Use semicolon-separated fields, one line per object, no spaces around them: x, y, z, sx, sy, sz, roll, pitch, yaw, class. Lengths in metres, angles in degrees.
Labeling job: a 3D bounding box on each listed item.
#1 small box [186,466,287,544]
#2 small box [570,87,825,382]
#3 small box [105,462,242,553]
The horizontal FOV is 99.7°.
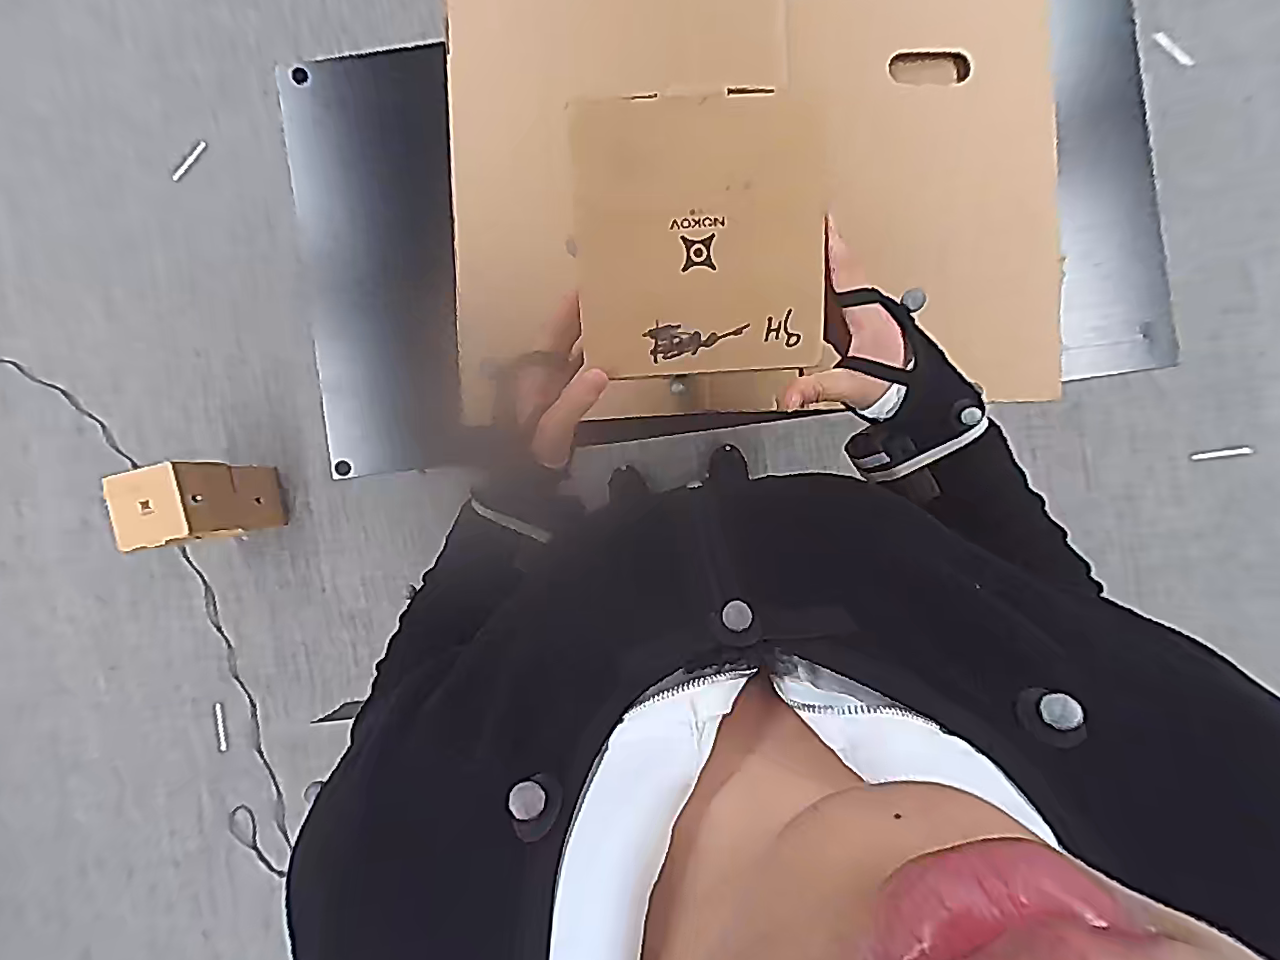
-1.093;0.065;1.453;0.168;0.176;0.179;-12;91;2;small box
0.039;-0.172;0.434;0.168;0.176;0.179;-3;100;1;small box
-1.100;0.061;1.291;0.168;0.176;0.179;-15;89;1;small box
